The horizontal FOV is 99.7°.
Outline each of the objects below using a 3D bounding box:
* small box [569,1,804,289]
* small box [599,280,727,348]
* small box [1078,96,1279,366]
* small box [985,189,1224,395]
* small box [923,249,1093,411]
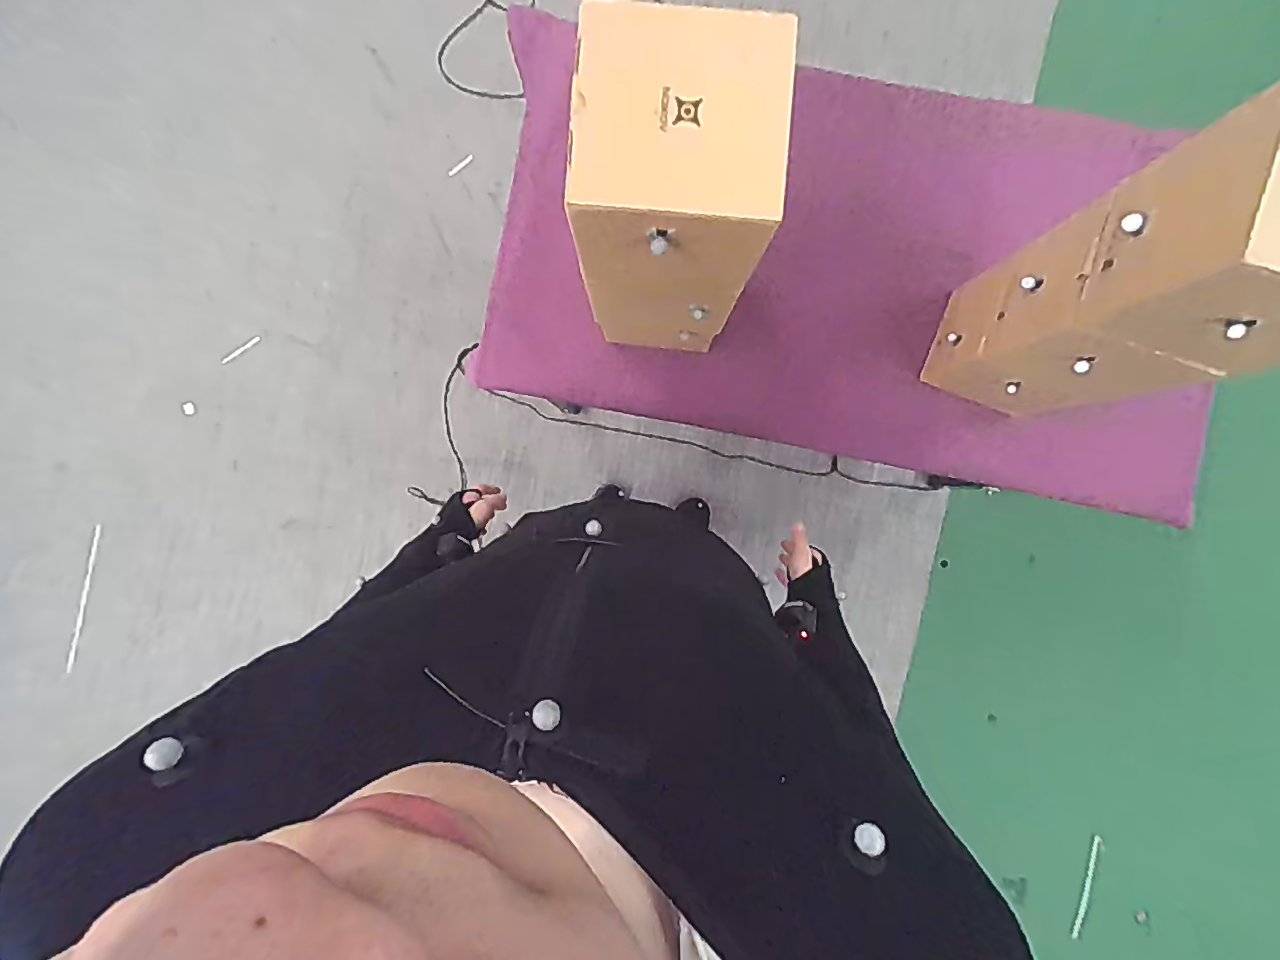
[{"bbox_3d":[0.036,-0.289,0.506,0.179,0.176,0.168,5,91,0],"label":"small box"},{"bbox_3d":[0.039,-0.308,0.833,0.179,0.176,0.168,6,90,1],"label":"small box"},{"bbox_3d":[0.573,-0.216,0.500,0.179,0.176,0.168,18,90,1],"label":"small box"},{"bbox_3d":[0.573,-0.214,0.665,0.179,0.176,0.168,19,91,2],"label":"small box"},{"bbox_3d":[0.575,-0.215,0.828,0.179,0.176,0.168,22,90,0],"label":"small box"}]
